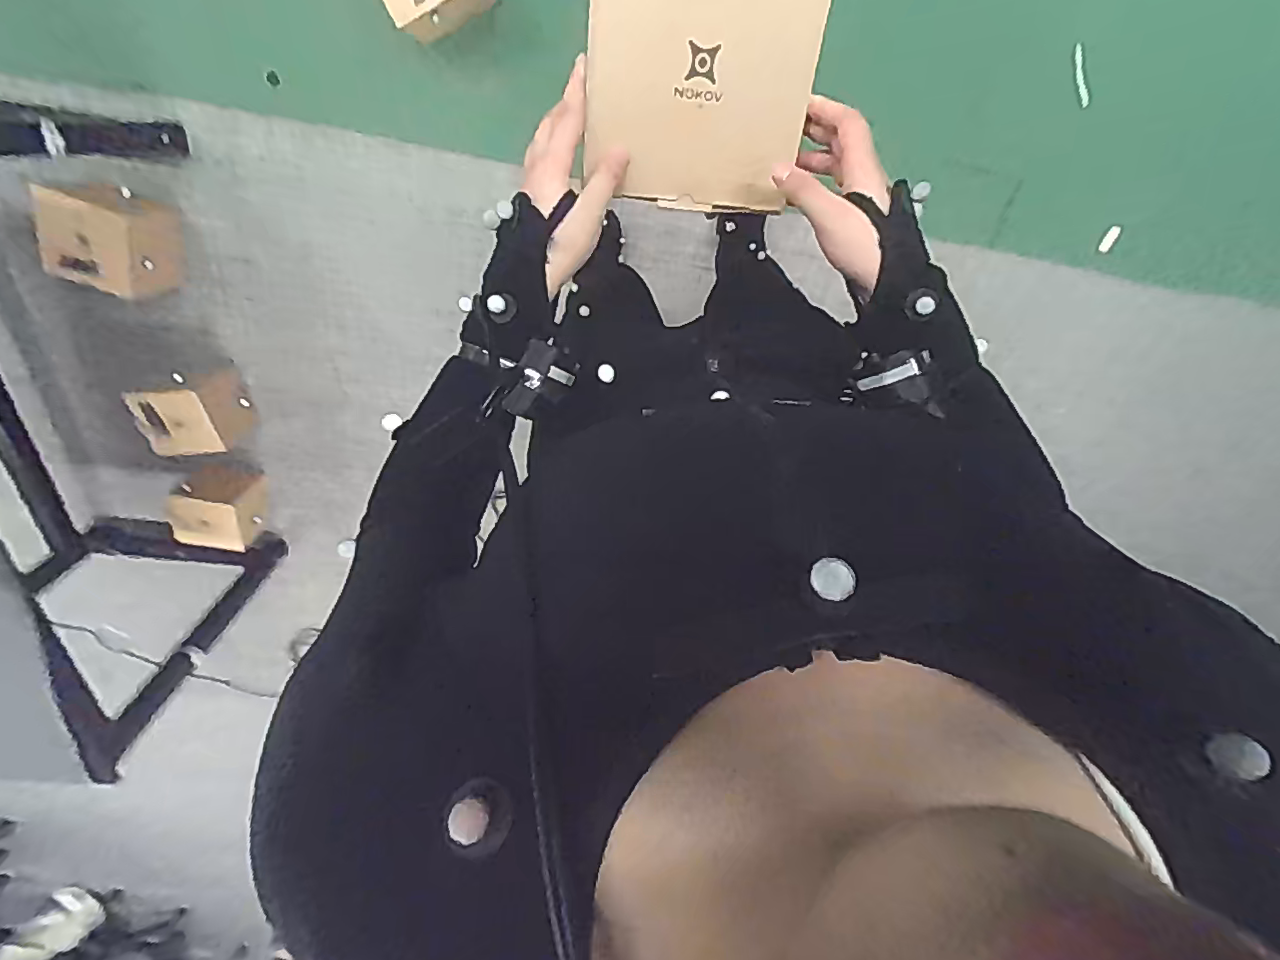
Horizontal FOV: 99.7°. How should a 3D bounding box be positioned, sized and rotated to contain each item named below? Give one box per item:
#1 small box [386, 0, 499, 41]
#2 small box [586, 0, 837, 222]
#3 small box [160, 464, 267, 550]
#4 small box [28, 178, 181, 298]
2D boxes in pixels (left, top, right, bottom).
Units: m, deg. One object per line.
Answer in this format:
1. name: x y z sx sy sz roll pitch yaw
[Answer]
1. small box: -0.369 -0.906 0.933 0.168 0.176 0.179 -20 120 11
2. small box: 0.042 -0.328 0.449 0.168 0.176 0.179 1 122 -6
3. small box: -1.193 0.073 1.534 0.179 0.176 0.168 11 122 -8
4. small box: -1.126 -0.520 1.155 0.168 0.176 0.179 18 119 -13
